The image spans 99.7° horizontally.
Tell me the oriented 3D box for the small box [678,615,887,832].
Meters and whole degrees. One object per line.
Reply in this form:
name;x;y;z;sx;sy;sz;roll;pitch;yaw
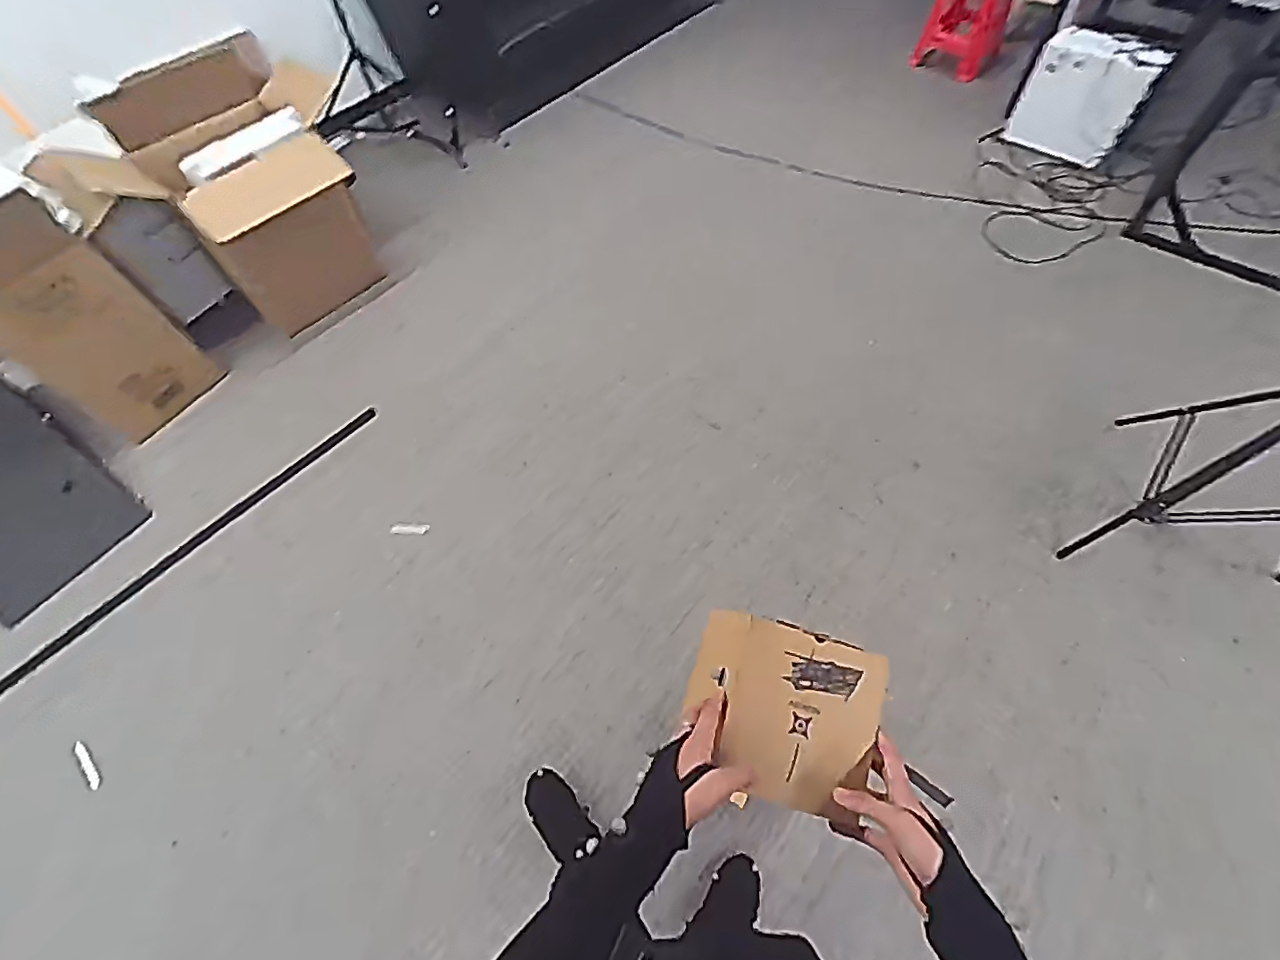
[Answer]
small box;0.154;0.265;0.632;0.168;0.176;0.179;18;75;-4

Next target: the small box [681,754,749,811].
small box;0.209;0.674;1.319;0.168;0.176;0.179;25;64;19
